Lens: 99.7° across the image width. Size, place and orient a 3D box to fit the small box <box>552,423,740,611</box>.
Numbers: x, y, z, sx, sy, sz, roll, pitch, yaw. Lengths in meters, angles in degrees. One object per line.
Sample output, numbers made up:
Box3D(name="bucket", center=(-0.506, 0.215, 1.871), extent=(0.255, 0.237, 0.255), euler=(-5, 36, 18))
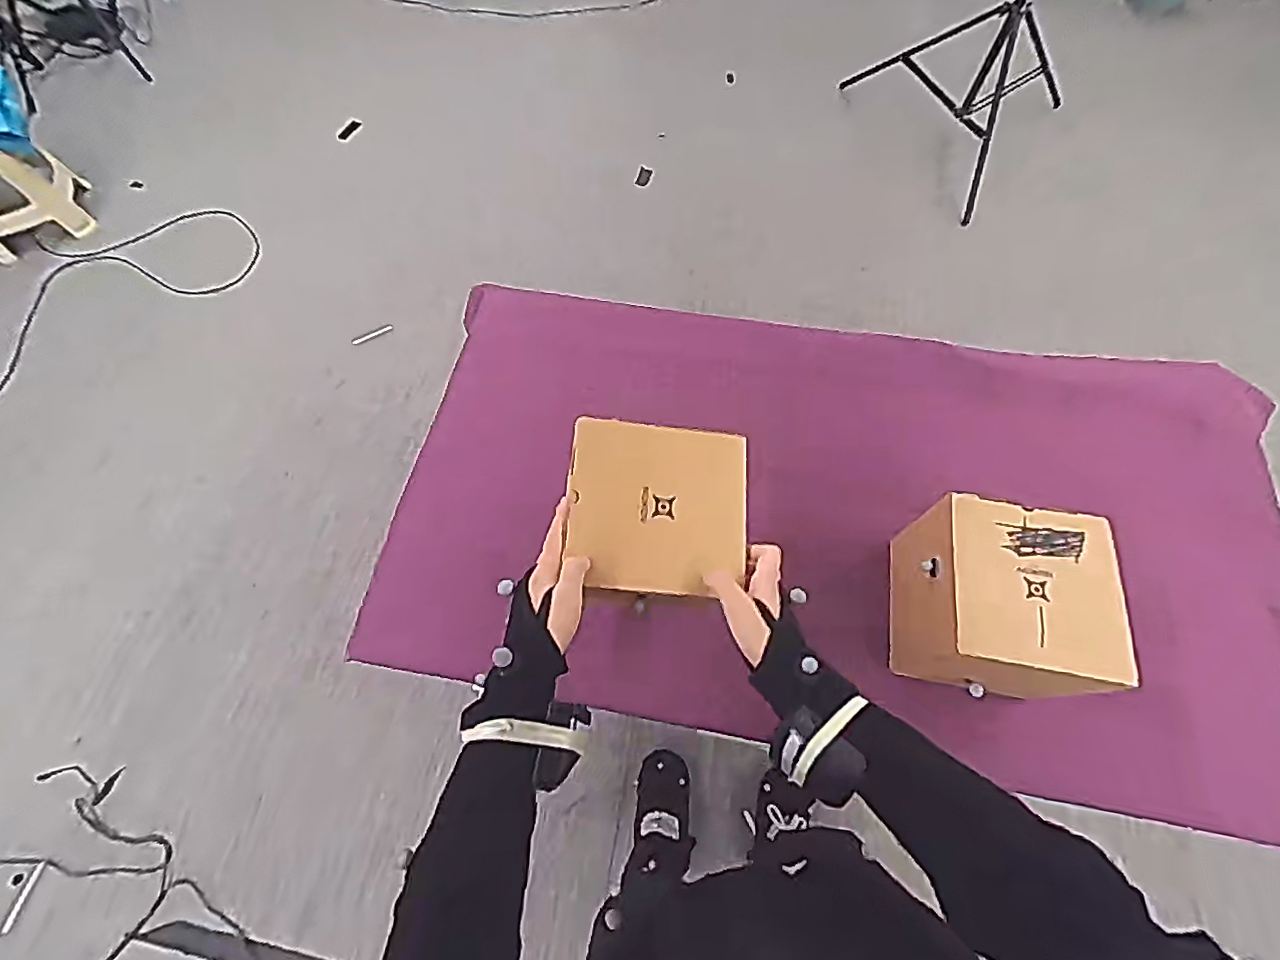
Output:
Box3D(name="small box", center=(0.000, 0.053, 0.603), extent=(0.179, 0.176, 0.168), euler=(7, 72, -7))

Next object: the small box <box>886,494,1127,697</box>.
Box3D(name="small box", center=(0.399, 0.140, 0.626), extent=(0.168, 0.176, 0.179), euler=(10, 65, 6))
